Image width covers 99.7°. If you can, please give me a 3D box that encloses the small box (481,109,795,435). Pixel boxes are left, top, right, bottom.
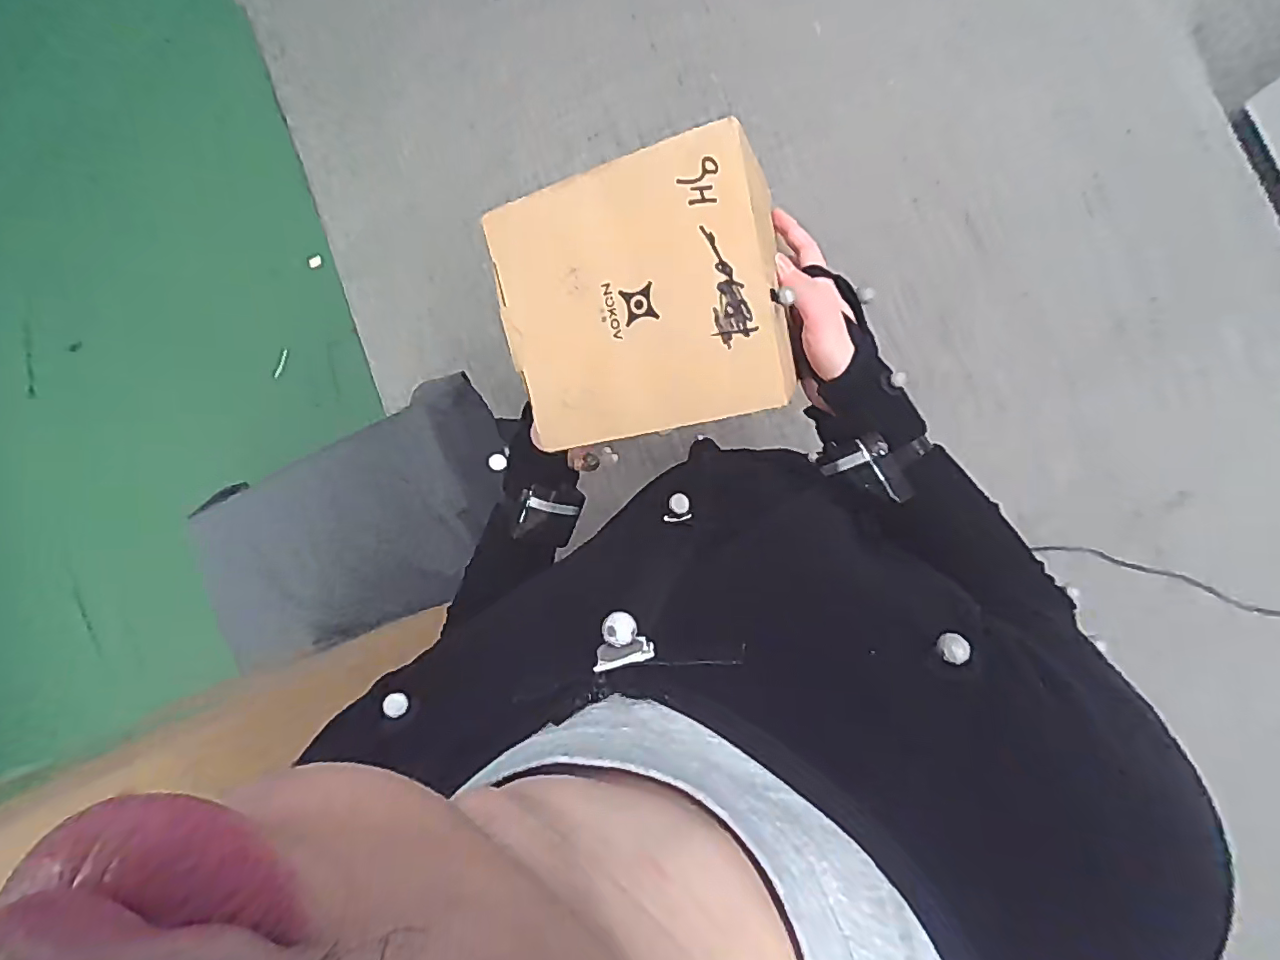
[{"bbox_3d":[0.014,-0.138,0.417,0.179,0.176,0.168,-7,103,22],"label":"small box"}]
